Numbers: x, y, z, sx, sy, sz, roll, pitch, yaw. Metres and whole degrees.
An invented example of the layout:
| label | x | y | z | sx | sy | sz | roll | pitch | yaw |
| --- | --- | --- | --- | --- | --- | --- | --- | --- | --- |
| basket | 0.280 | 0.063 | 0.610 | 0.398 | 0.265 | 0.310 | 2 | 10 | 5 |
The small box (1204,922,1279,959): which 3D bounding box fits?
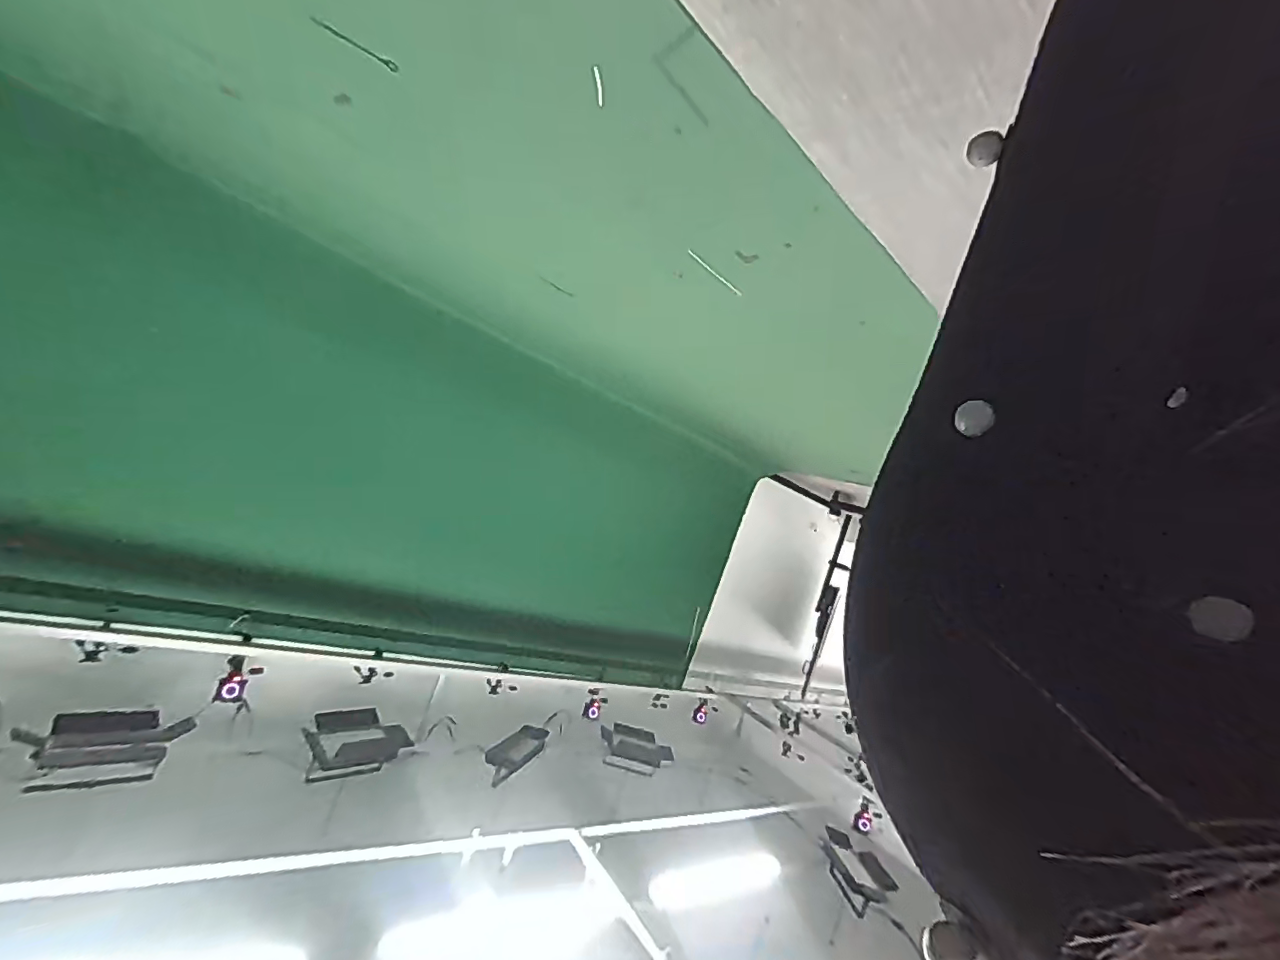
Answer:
| label | x | y | z | sx | sy | sz | roll | pitch | yaw |
| --- | --- | --- | --- | --- | --- | --- | --- | --- | --- |
| small box | 1.662 | 1.348 | 1.463 | 0.179 | 0.176 | 0.168 | 21 | 178 | -33 |
